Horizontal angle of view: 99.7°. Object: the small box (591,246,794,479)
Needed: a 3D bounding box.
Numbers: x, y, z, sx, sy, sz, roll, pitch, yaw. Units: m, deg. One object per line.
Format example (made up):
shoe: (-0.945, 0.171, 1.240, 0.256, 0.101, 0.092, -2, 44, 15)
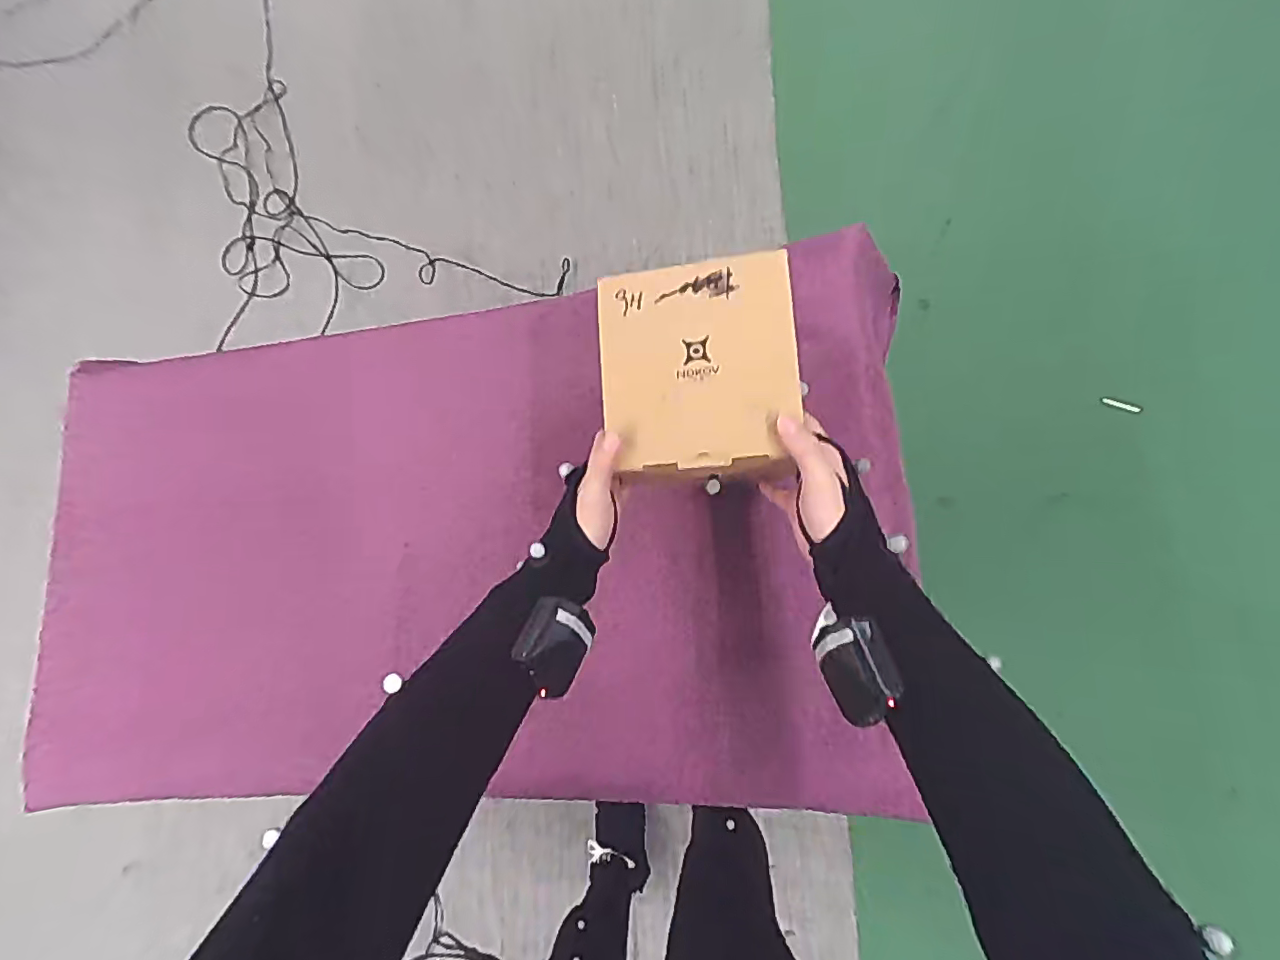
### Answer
small box: (0.058, -0.095, 0.533, 0.168, 0.176, 0.179, -5, 84, 12)
